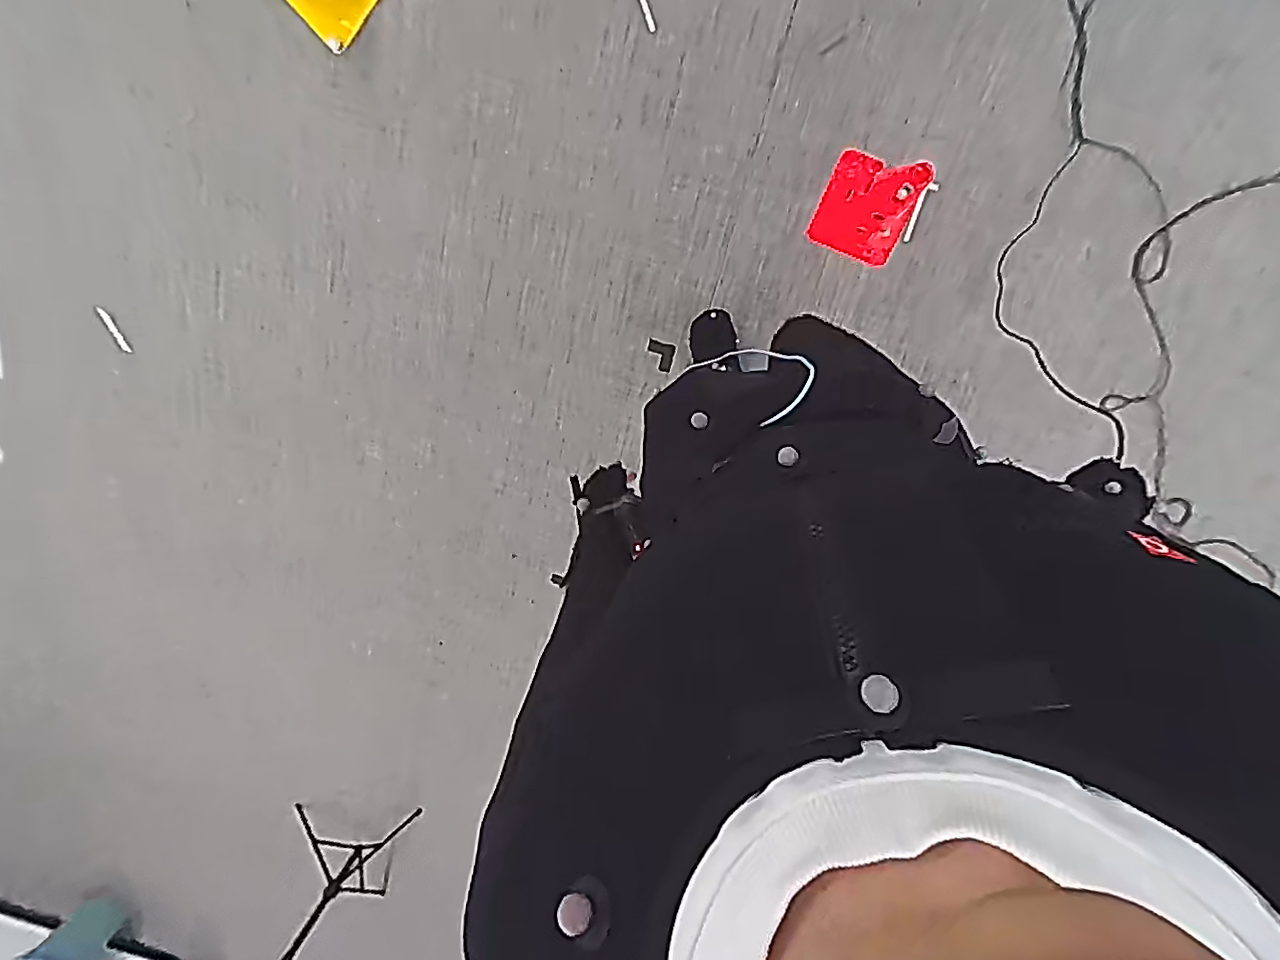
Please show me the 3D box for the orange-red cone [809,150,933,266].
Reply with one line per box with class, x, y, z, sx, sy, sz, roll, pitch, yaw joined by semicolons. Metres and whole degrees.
orange-red cone;0.484;-0.560;1.056;0.199;0.360;0.198;24;108;1
